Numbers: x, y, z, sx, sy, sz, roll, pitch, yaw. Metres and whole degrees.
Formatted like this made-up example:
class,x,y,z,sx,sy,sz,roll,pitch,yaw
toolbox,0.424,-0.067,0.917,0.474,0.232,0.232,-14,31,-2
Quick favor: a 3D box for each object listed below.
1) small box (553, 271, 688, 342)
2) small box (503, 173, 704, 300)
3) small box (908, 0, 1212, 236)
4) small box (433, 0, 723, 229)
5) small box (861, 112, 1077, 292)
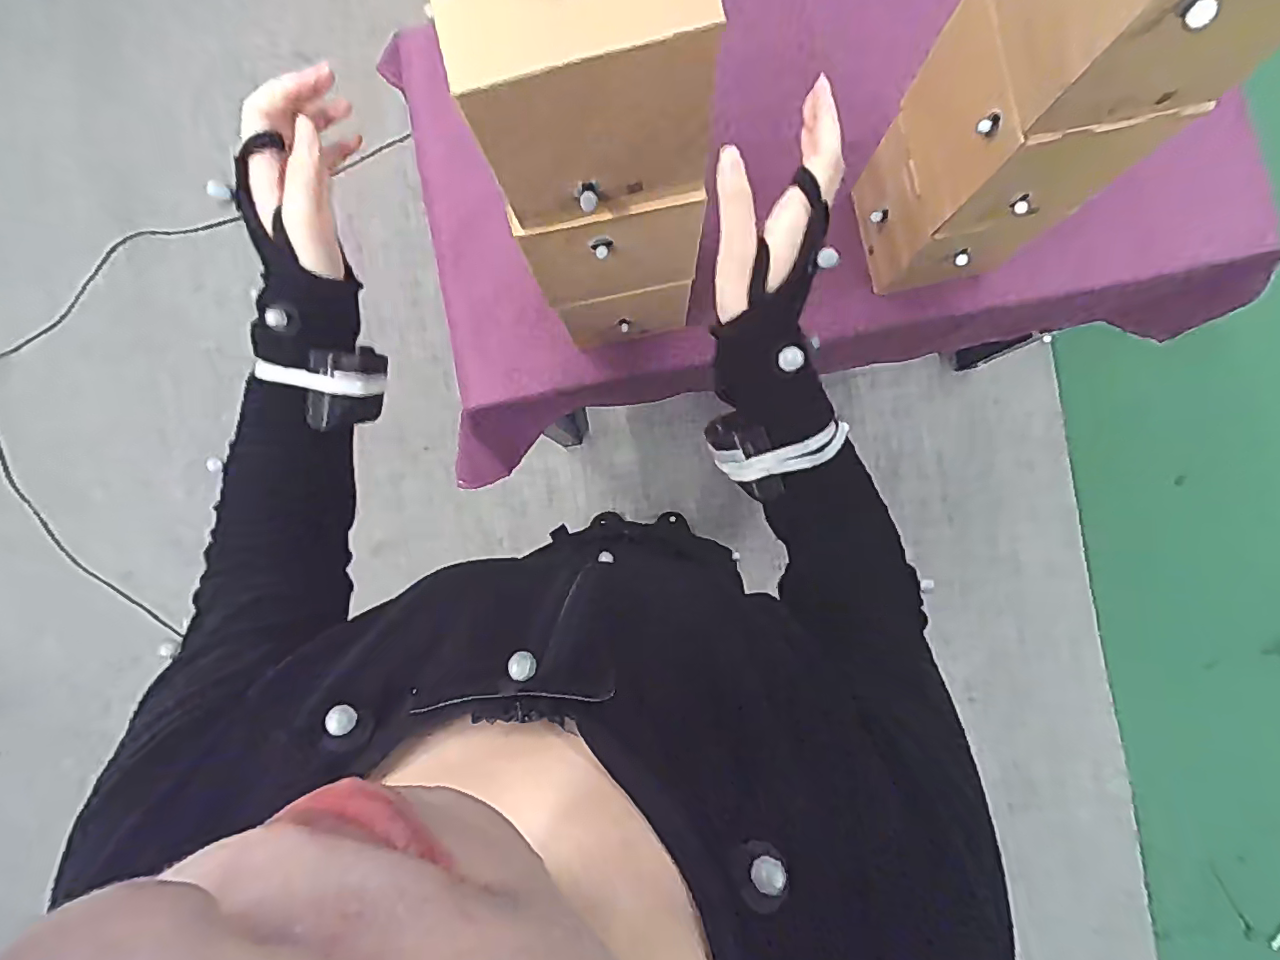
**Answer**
class,x,y,z,sx,sy,sz,roll,pitch,yaw
small box,-0.032,-0.297,0.724,0.168,0.176,0.179,-10,86,1
small box,-0.039,-0.304,0.559,0.179,0.176,0.168,-11,87,1
small box,0.399,-0.382,0.550,0.168,0.176,0.179,-10,87,1
small box,-0.046,-0.322,0.398,0.168,0.176,0.179,-13,88,2
small box,0.410,-0.367,0.712,0.179,0.176,0.168,-11,87,2
